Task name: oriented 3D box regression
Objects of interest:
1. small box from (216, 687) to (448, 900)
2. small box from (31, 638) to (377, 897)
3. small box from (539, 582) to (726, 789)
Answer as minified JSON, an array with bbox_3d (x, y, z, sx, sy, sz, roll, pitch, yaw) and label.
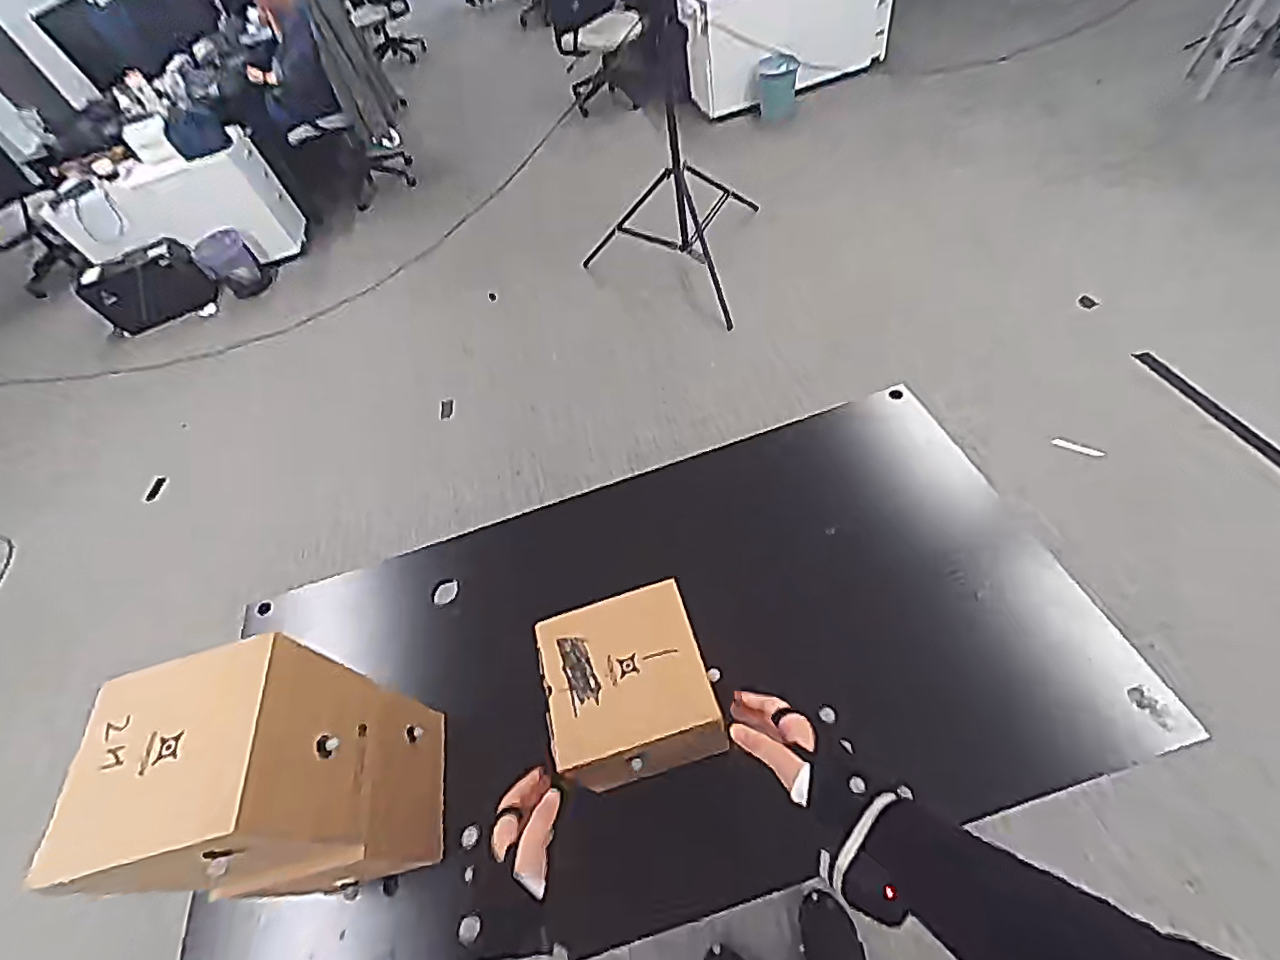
[{"bbox_3d":[-0.346,0.376,0.648,0.168,0.176,0.179,-17,54,2],"label":"small box"},{"bbox_3d":[-0.383,0.277,0.521,0.179,0.176,0.168,-17,52,2],"label":"small box"},{"bbox_3d":[-0.005,0.255,0.655,0.179,0.176,0.168,-18,53,-1],"label":"small box"}]
